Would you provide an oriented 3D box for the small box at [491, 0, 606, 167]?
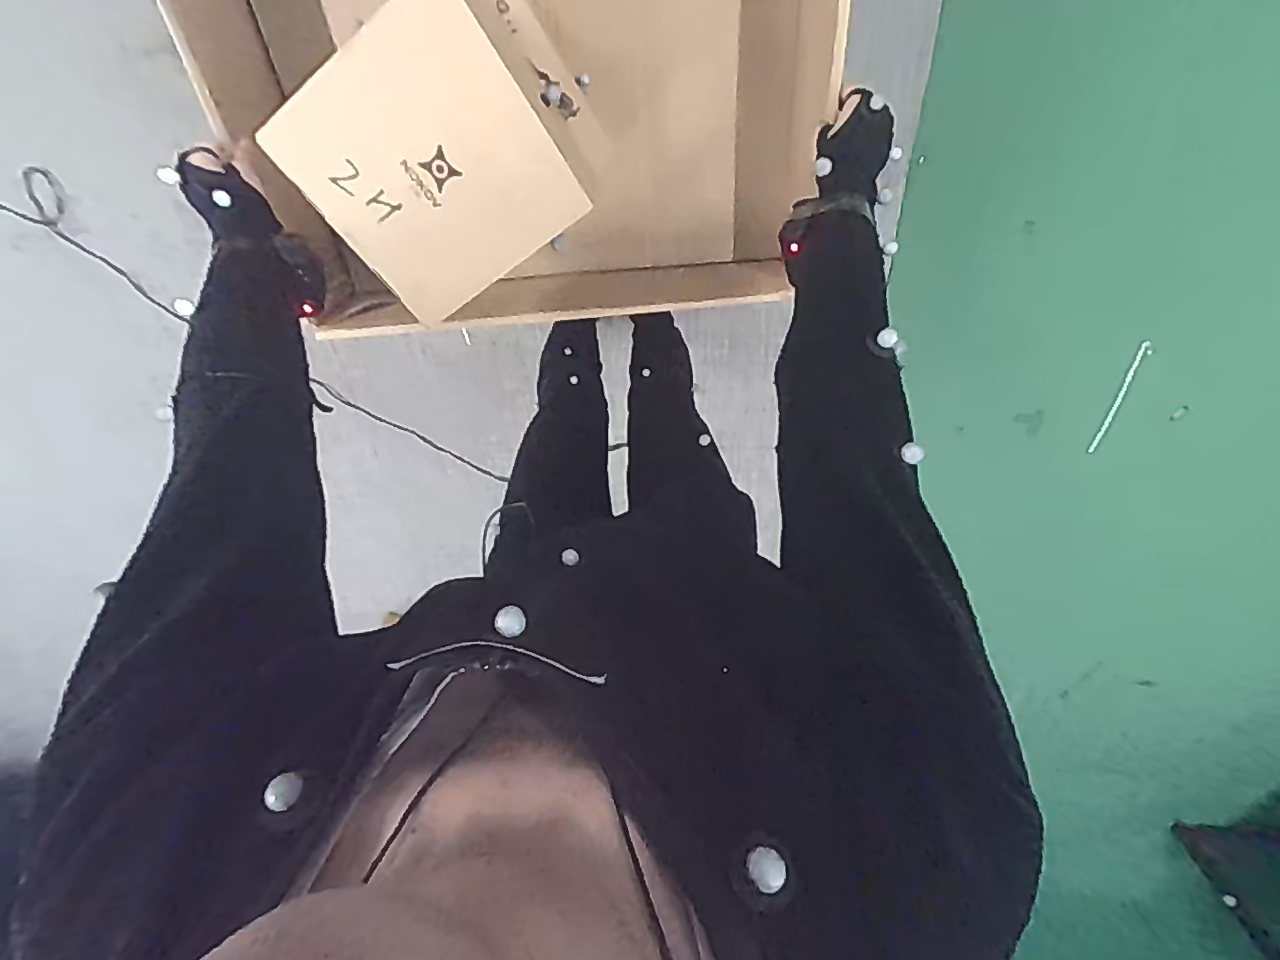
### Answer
[{"bbox_3d":[-0.148,-0.385,0.572,0.179,0.176,0.168,-30,123,17],"label":"small box"}]

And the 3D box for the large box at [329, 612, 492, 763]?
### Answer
[{"bbox_3d":[-0.784,0.722,1.884,0.408,0.320,0.320,24,121,-14],"label":"large box"}]

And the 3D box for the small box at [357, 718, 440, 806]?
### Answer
[{"bbox_3d":[-0.753,0.884,1.700,0.168,0.176,0.179,27,122,-17],"label":"small box"}]

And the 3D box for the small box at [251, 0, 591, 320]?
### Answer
[{"bbox_3d":[-0.156,-0.272,0.449,0.179,0.176,0.168,-28,122,17],"label":"small box"}]
